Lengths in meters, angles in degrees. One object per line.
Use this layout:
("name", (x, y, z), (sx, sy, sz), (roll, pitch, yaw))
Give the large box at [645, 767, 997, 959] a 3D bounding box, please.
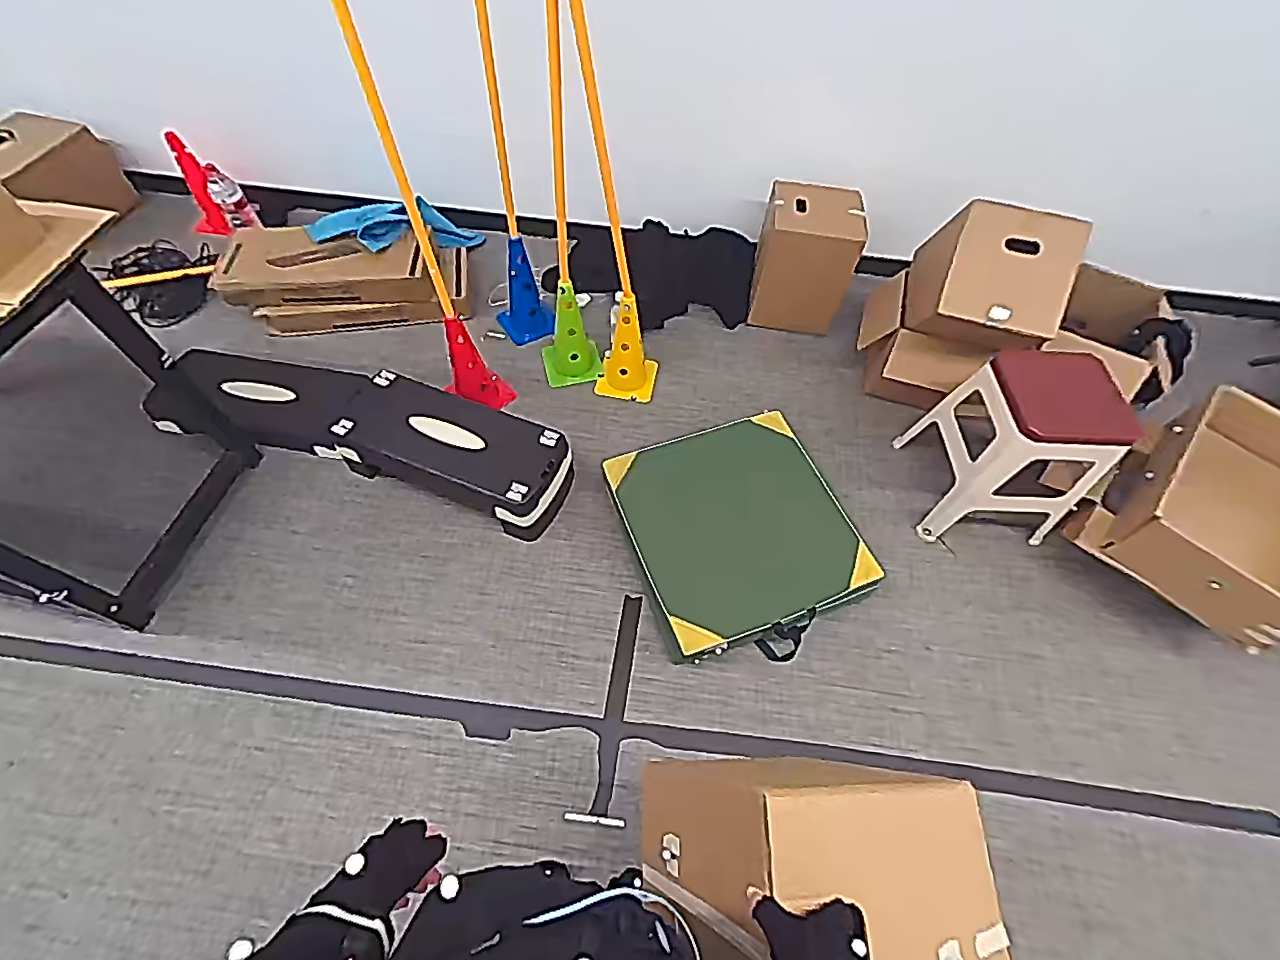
("large box", (0.219, 0.600, 0.772), (0.320, 0.408, 0.320), (8, 65, -16))
